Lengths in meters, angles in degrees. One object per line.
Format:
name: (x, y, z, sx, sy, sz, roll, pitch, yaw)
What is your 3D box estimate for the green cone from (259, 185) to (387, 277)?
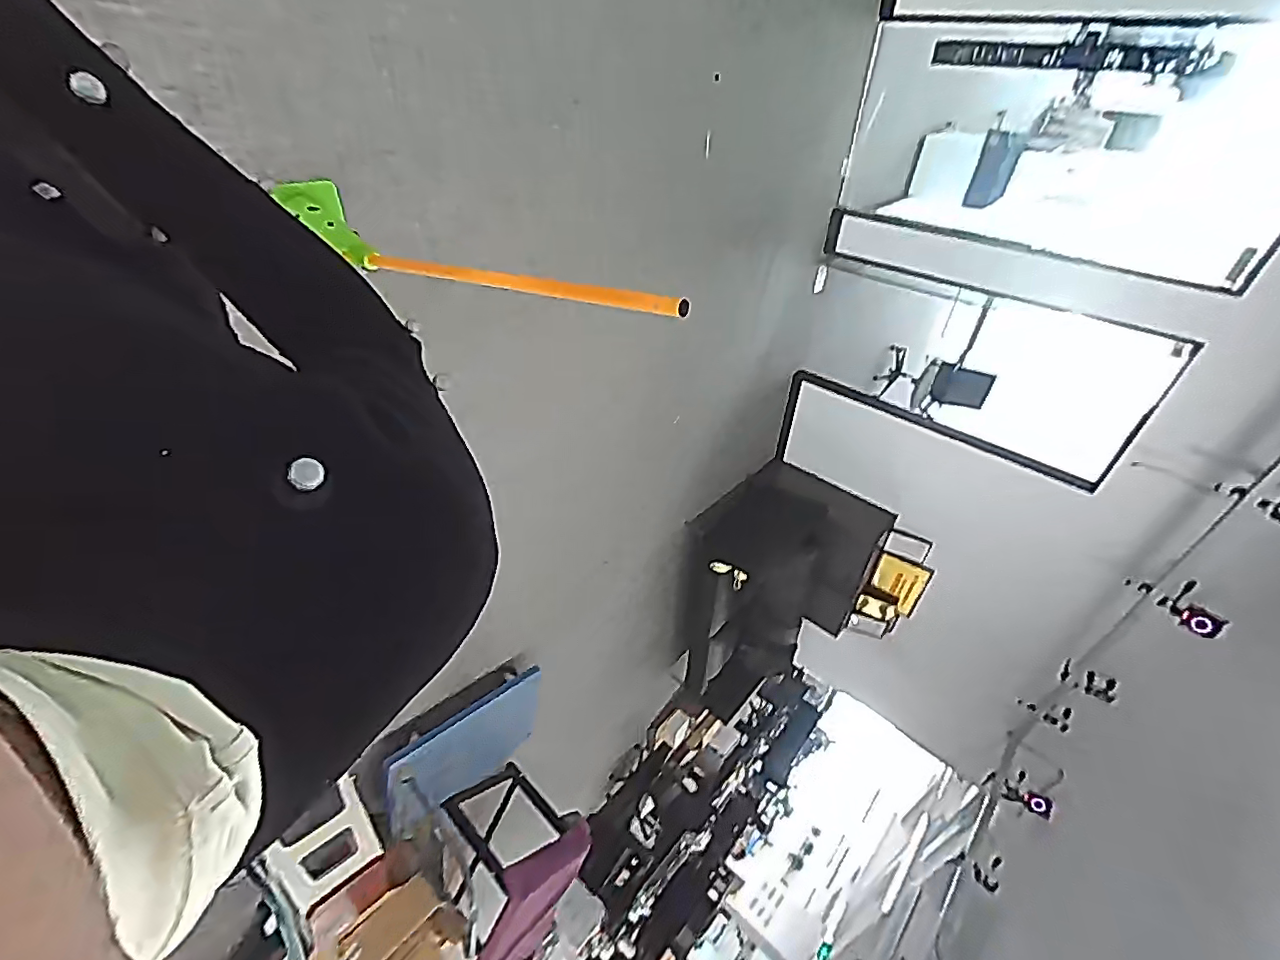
green cone: (-0.701, -0.556, 1.280, 0.202, 0.368, 0.200, -32, 139, -36)
